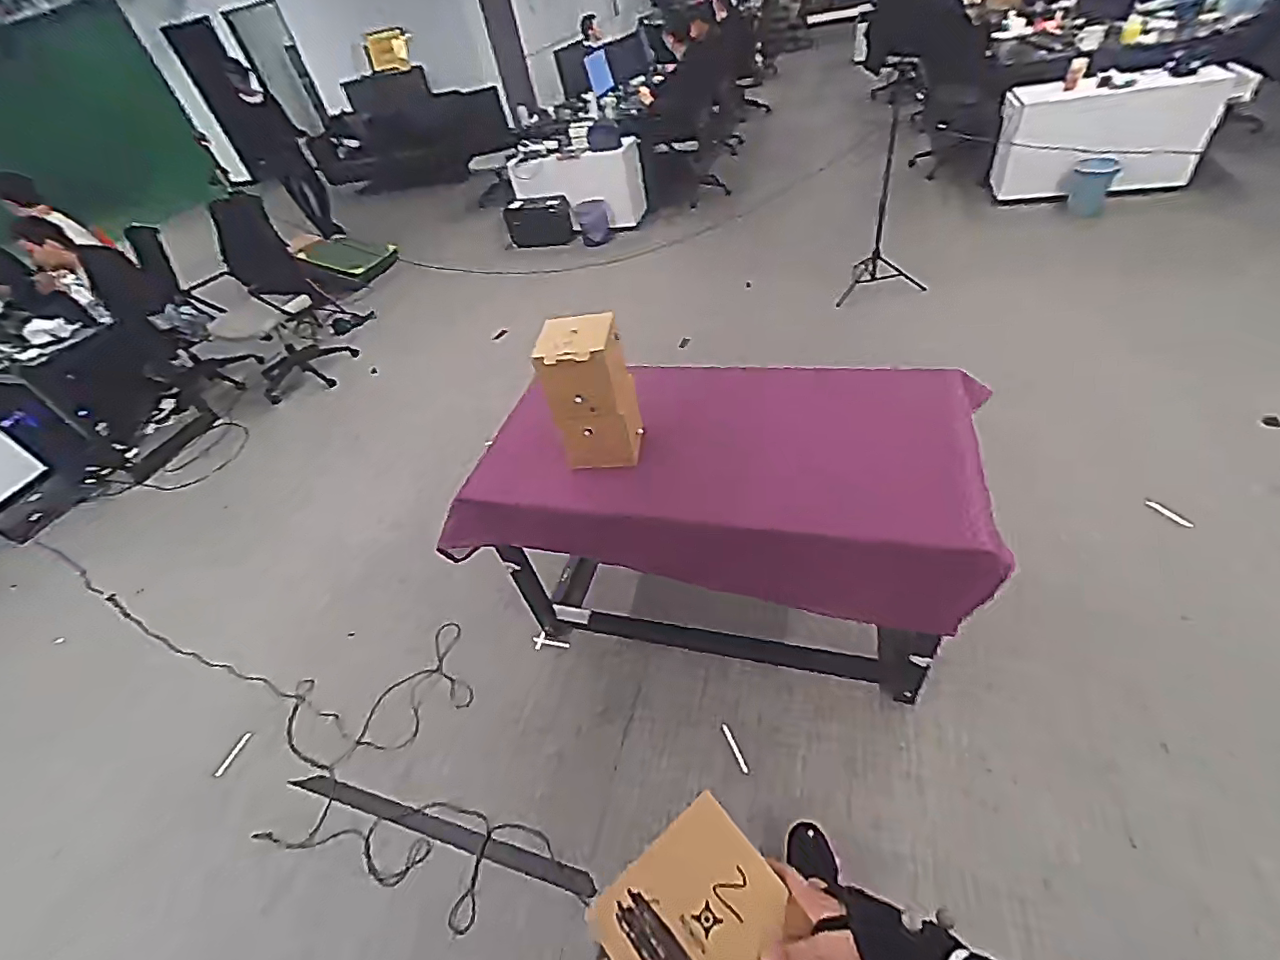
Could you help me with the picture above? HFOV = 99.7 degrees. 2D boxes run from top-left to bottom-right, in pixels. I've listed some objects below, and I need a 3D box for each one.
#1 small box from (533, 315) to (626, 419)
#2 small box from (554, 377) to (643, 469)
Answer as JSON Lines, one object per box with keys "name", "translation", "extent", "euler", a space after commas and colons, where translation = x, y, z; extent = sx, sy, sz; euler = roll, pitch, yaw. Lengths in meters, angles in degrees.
{"name": "small box", "translation": [-0.132, -0.262, 1.266], "extent": [0.168, 0.176, 0.179], "euler": [-4, 44, 11]}
{"name": "small box", "translation": [-0.097, -0.141, 1.373], "extent": [0.179, 0.176, 0.168], "euler": [-2, 45, 11]}
